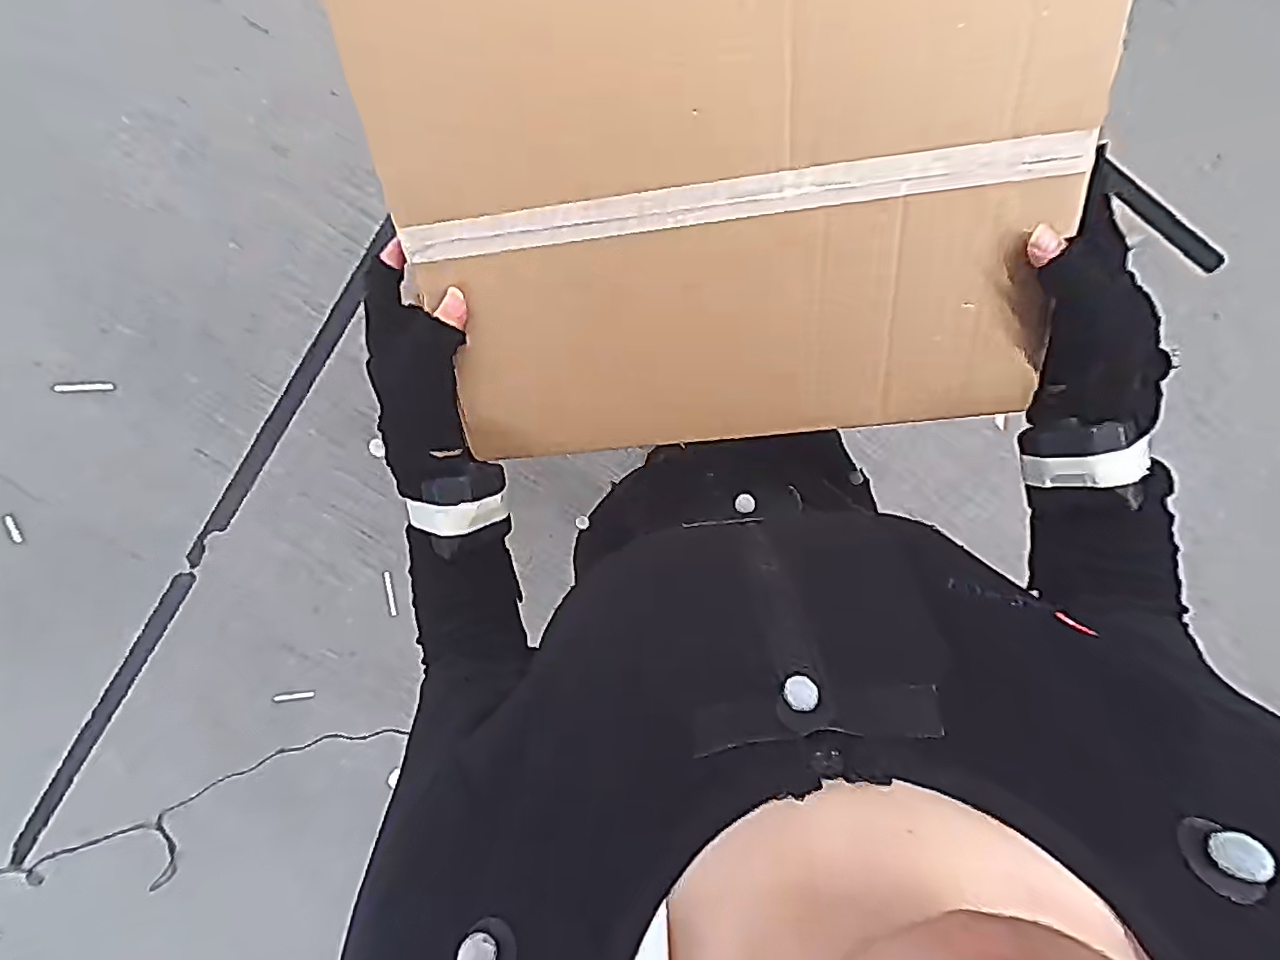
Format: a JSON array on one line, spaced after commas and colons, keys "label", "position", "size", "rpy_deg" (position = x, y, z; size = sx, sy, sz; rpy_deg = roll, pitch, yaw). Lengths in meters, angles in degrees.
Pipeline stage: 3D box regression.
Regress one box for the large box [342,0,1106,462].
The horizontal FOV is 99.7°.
[{"label": "large box", "position": [0.057, -0.240, 0.465], "size": [0.408, 0.320, 0.320], "rpy_deg": [-6, 121, 5]}]
